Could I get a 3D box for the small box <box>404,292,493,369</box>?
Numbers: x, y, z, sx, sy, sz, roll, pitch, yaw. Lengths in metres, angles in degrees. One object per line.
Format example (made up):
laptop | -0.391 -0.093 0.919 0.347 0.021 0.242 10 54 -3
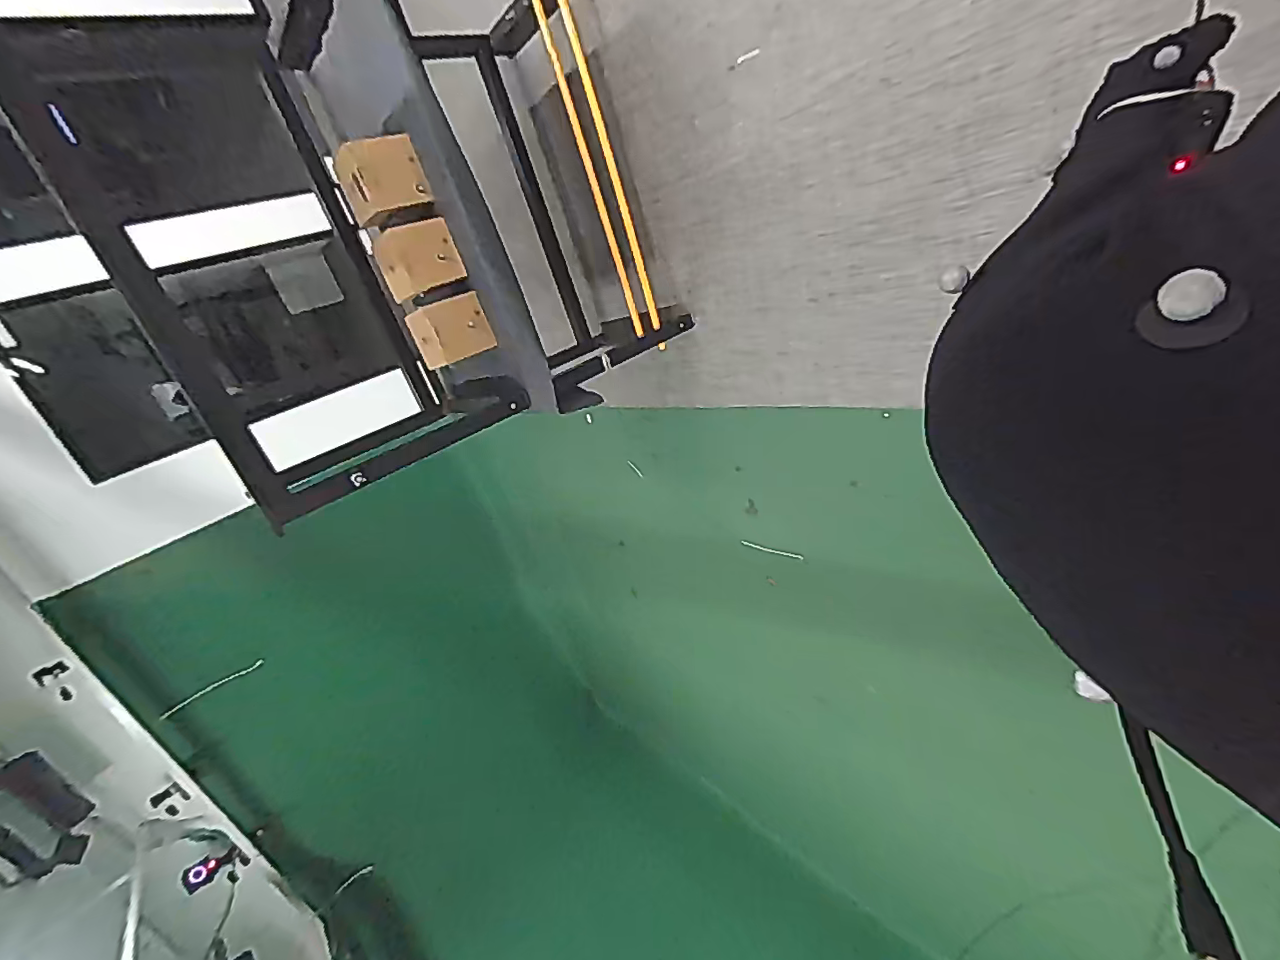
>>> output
small box | -0.564 -0.442 1.602 0.179 0.176 0.168 5 121 51
